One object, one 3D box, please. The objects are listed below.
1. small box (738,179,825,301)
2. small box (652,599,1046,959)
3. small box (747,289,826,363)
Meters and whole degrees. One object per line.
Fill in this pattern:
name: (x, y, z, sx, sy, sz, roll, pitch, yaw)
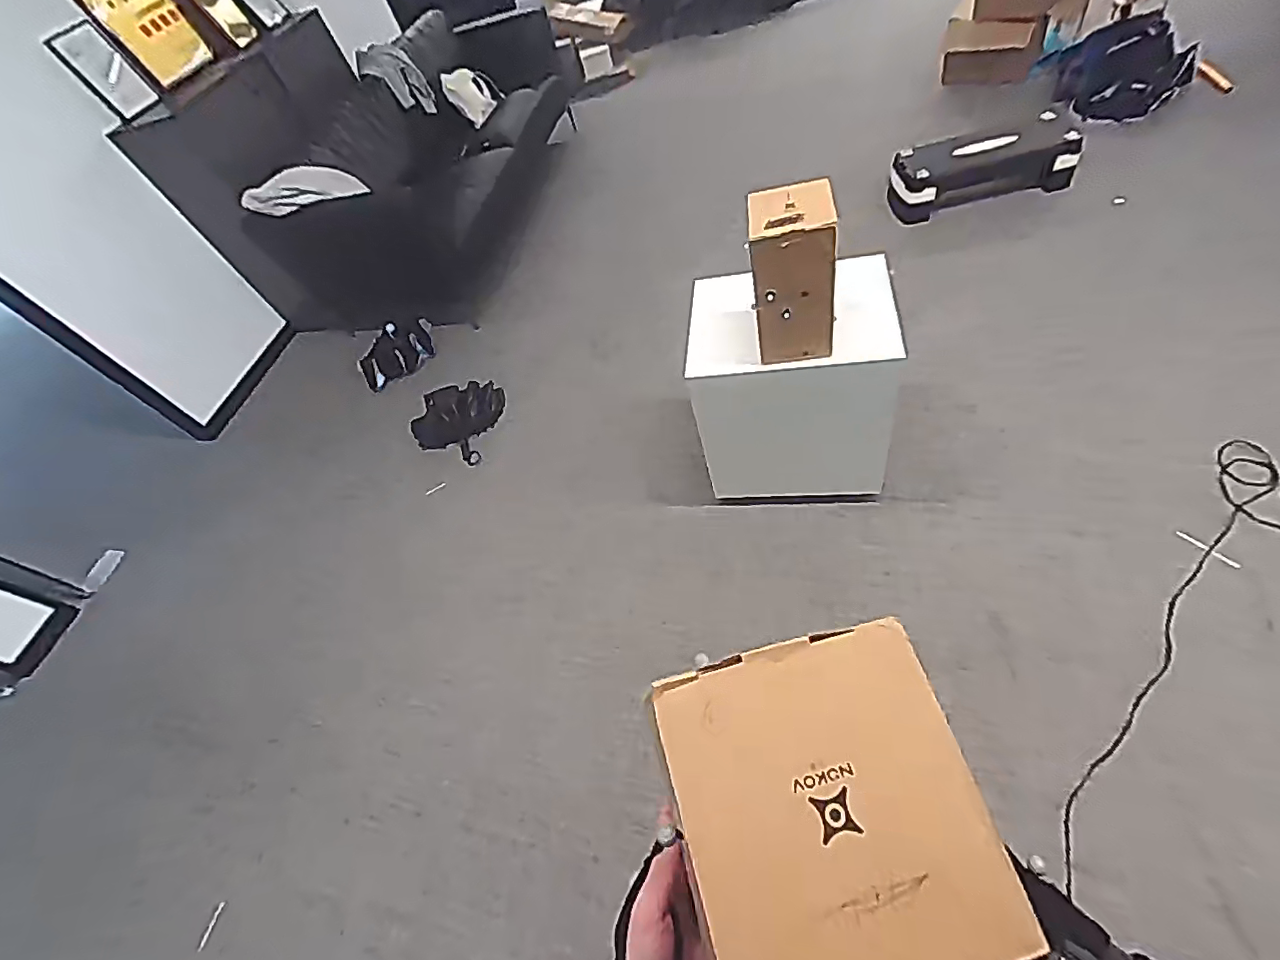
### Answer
small box: (0.301, -0.500, 1.152, 0.168, 0.176, 0.179, -5, 52, 14)
small box: (0.108, 0.203, 0.373, 0.168, 0.176, 0.179, -14, 66, -7)
small box: (0.342, -0.405, 1.280, 0.168, 0.176, 0.179, -6, 52, 14)
